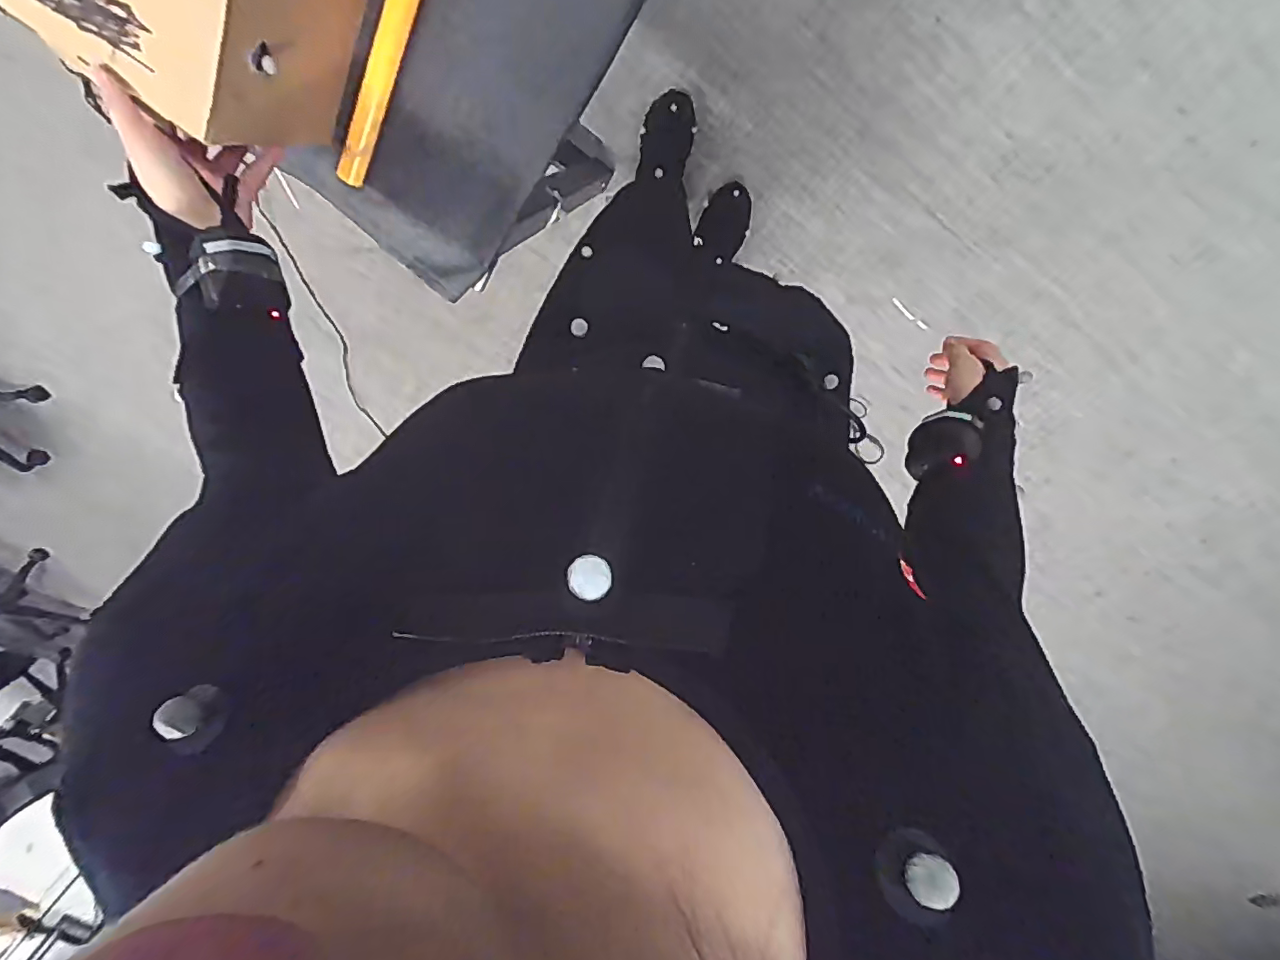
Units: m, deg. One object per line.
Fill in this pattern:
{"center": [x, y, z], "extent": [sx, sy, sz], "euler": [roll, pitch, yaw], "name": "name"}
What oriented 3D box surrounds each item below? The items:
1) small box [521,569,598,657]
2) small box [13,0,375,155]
{"center": [-0.244, 0.408, 1.683], "extent": [0.168, 0.176, 0.179], "euler": [29, 124, -10], "name": "small box"}
{"center": [-0.359, -0.412, 0.459], "extent": [0.168, 0.176, 0.179], "euler": [33, 121, -12], "name": "small box"}
